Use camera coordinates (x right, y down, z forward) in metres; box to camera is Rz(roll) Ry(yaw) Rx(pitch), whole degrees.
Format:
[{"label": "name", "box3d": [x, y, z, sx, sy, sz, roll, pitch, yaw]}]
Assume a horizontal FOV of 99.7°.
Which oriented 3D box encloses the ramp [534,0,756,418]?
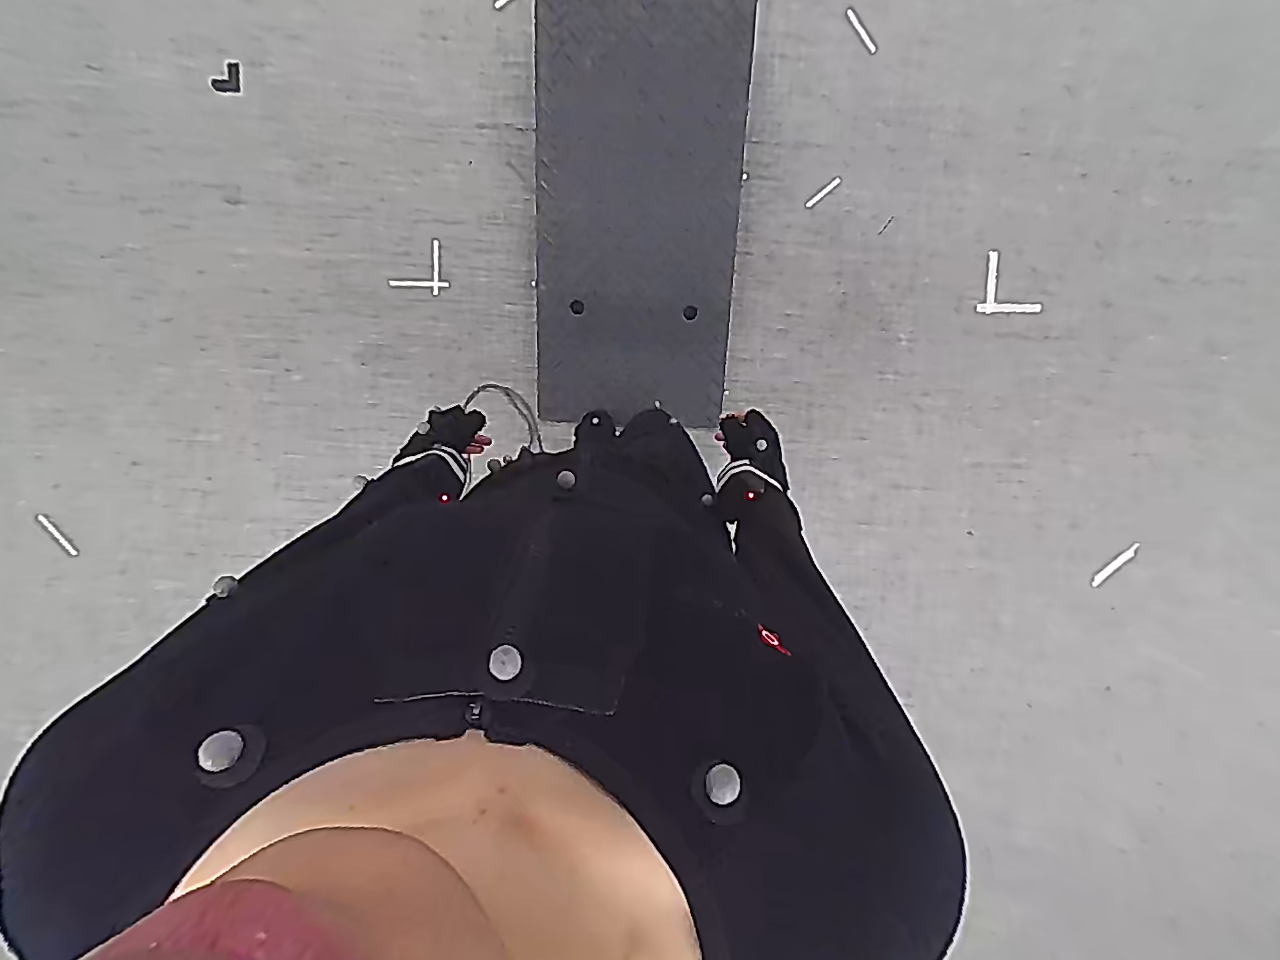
[{"label": "ramp", "box3d": [-0.003, -0.649, 1.305, 0.509, 0.206, 0.991, 0, 97, -2]}]
